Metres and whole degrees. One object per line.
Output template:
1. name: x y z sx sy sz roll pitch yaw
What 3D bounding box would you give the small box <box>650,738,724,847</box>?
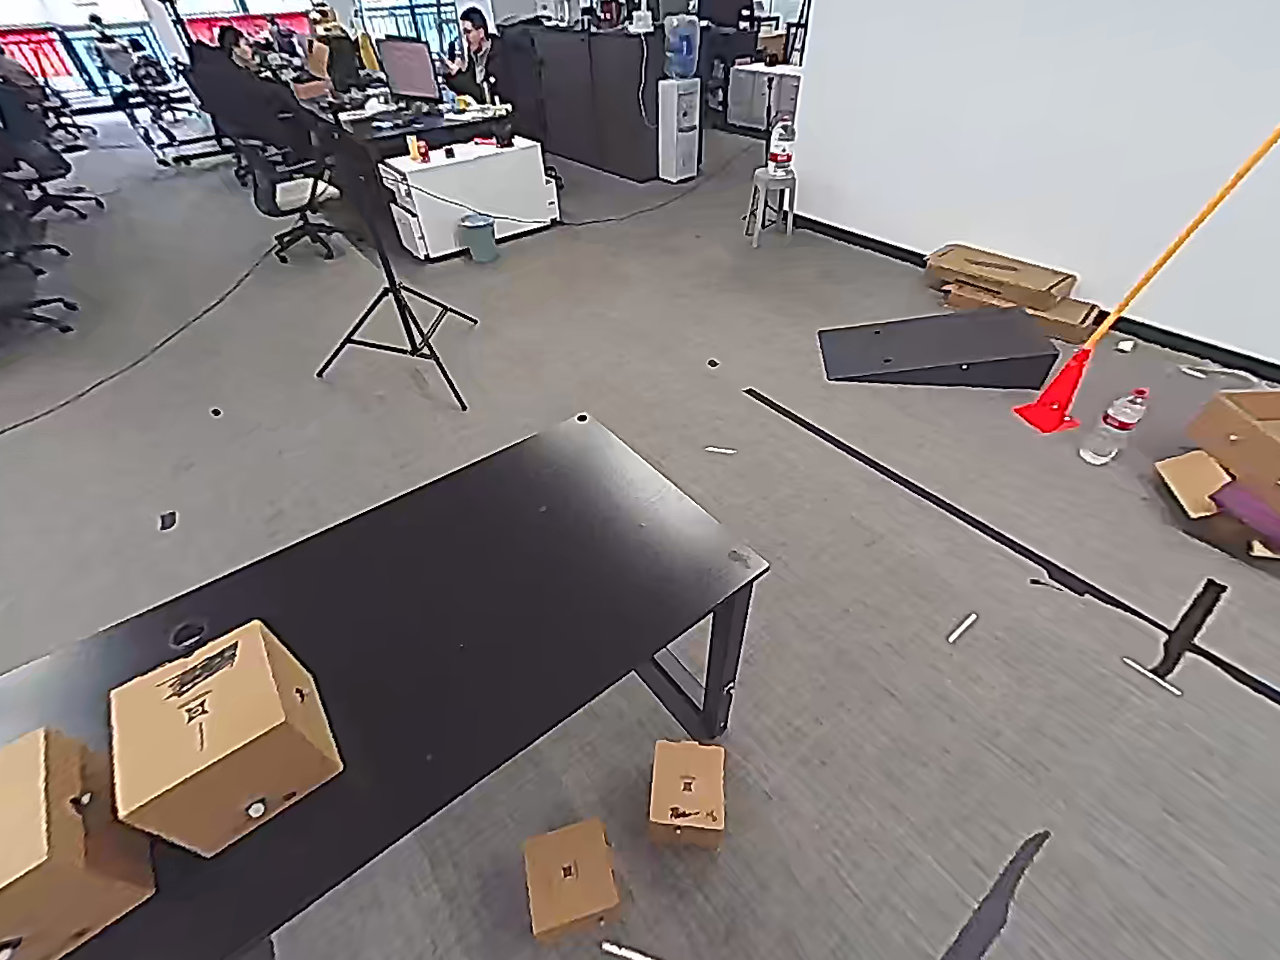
1. small box: 0.112 0.744 1.289 0.168 0.176 0.179 3 44 6

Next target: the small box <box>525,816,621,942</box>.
1. small box: -0.141 0.867 1.175 0.179 0.176 0.168 -14 44 -10

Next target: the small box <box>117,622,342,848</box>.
1. small box: -0.520 0.328 0.698 0.168 0.176 0.179 -29 50 -25
